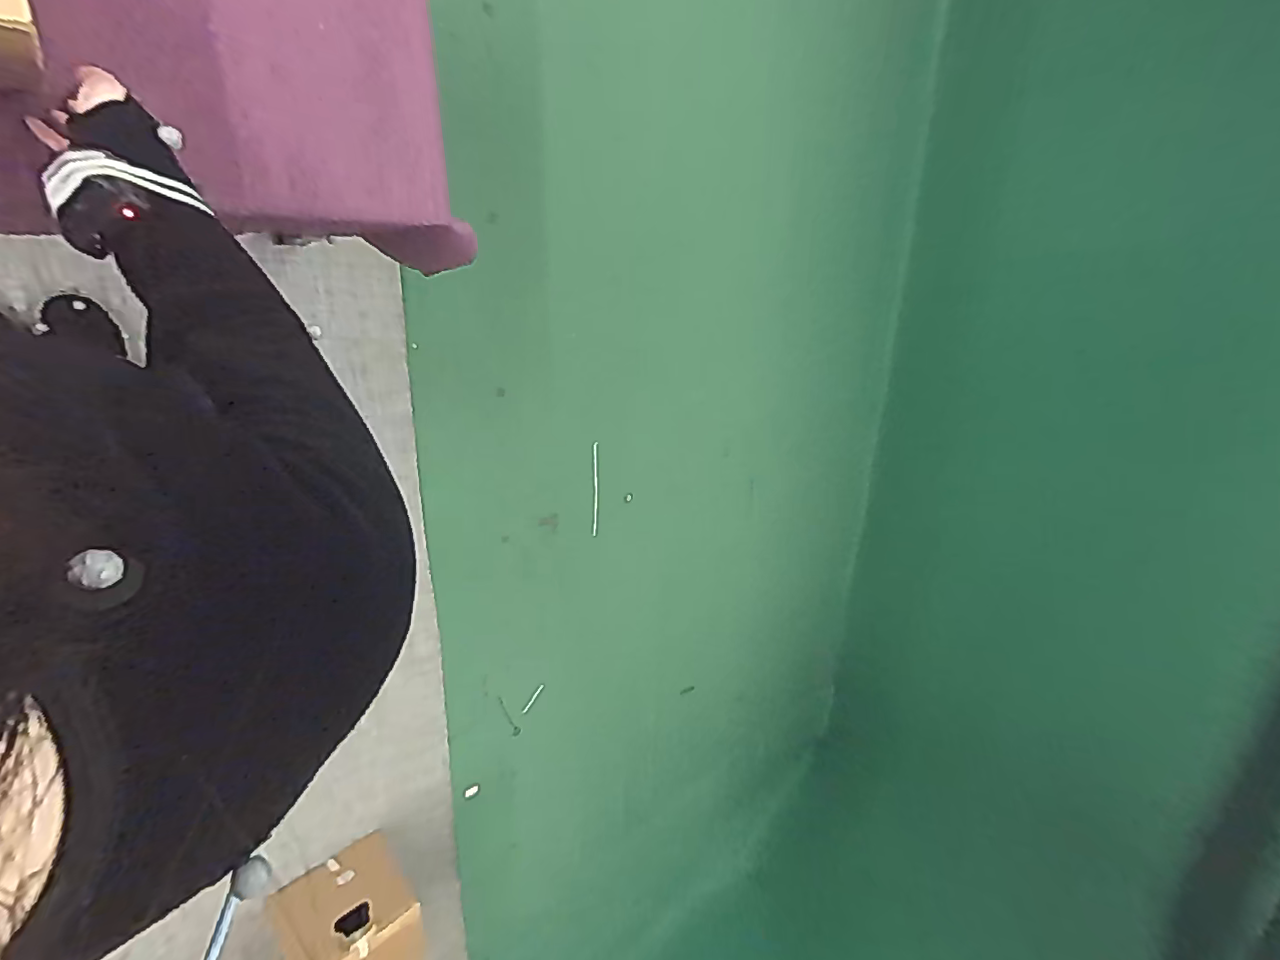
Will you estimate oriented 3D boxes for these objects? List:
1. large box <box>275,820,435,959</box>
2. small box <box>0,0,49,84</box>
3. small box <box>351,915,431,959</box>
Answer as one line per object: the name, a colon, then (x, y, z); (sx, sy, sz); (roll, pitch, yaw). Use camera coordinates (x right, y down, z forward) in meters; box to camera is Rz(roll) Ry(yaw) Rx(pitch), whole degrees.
large box: (-0.857, 1.362, 1.642); (0.320, 0.320, 0.408); (-17, 117, -41)
small box: (-0.539, -0.398, 0.360); (0.168, 0.176, 0.179); (-17, 117, -41)
small box: (-0.674, 1.354, 1.465); (0.179, 0.176, 0.168); (-19, 119, -41)
